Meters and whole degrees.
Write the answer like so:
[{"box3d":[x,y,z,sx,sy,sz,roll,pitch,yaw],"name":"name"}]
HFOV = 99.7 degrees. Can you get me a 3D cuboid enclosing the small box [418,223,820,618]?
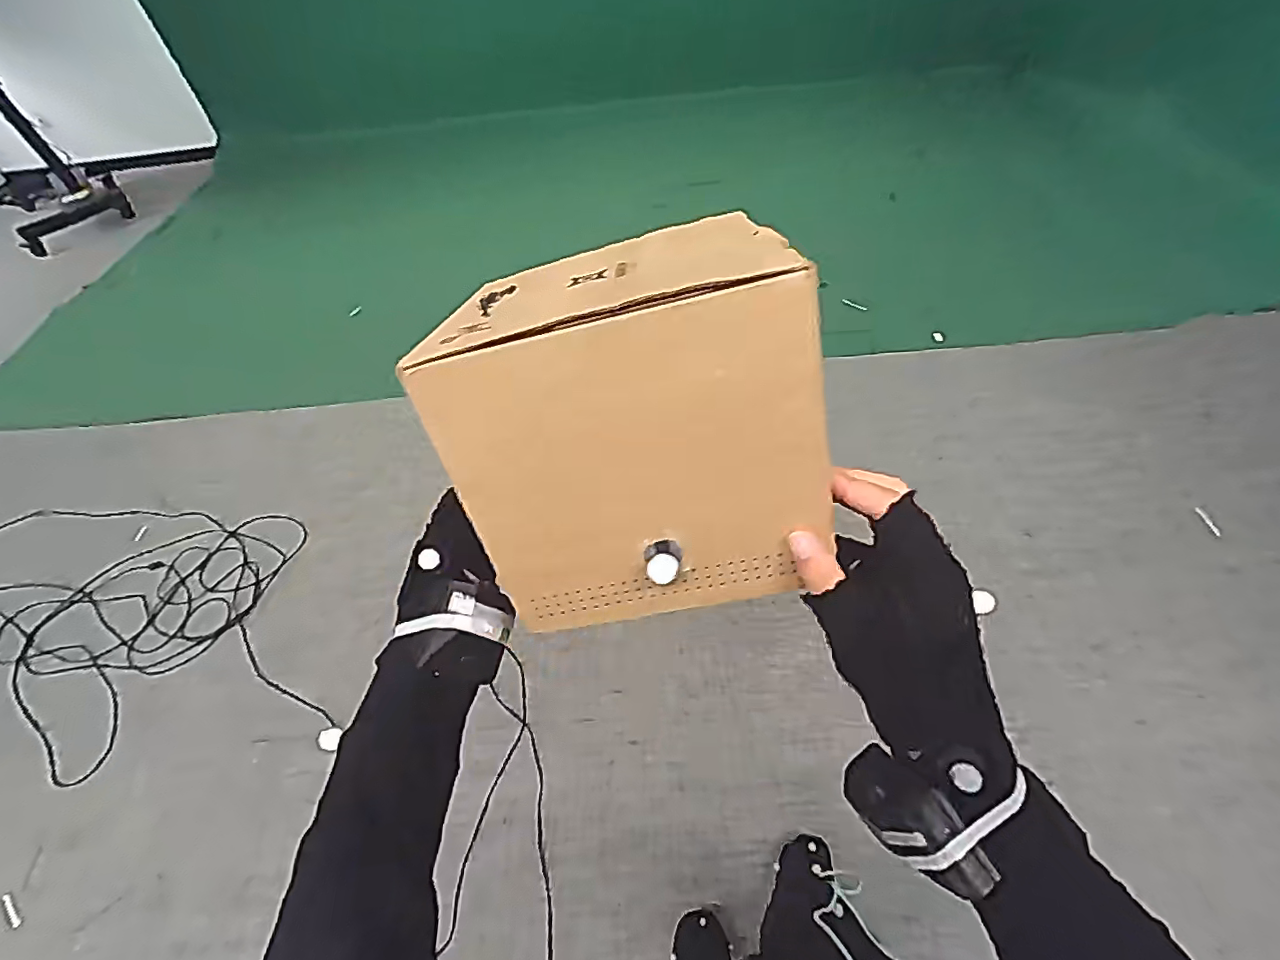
[{"box3d":[0.004,-0.040,0.335,0.179,0.176,0.168,-12,30,6],"name":"small box"}]
